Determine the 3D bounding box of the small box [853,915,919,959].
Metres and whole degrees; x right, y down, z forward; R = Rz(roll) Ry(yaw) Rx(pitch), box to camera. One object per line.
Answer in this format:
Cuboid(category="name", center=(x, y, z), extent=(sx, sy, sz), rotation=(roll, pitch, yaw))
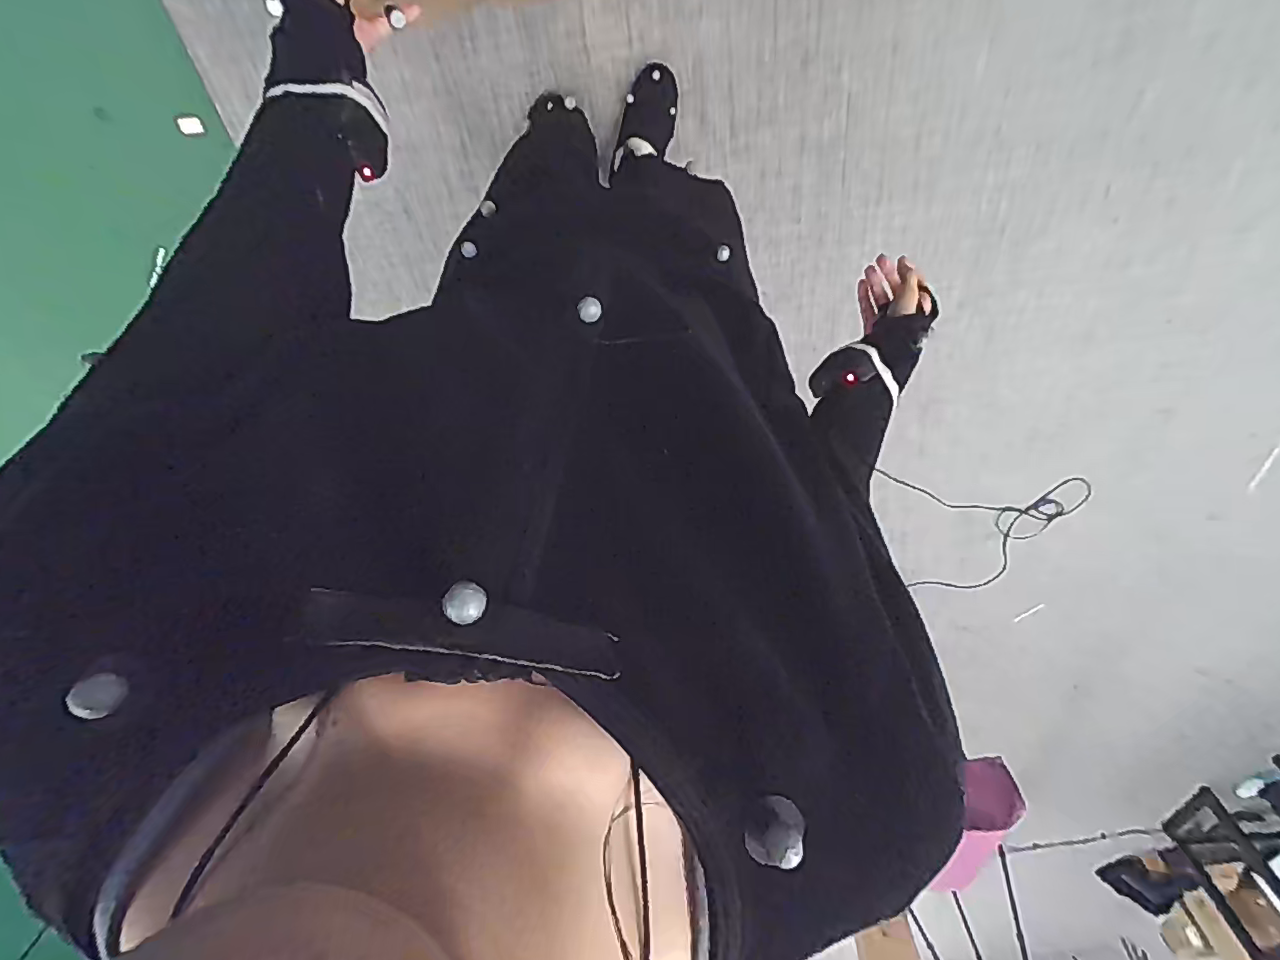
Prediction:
Cuboid(category="small box", center=(0.801, 1.537, 1.755), extent=(0.168, 0.176, 0.179), rotation=(-8, 128, 6))
